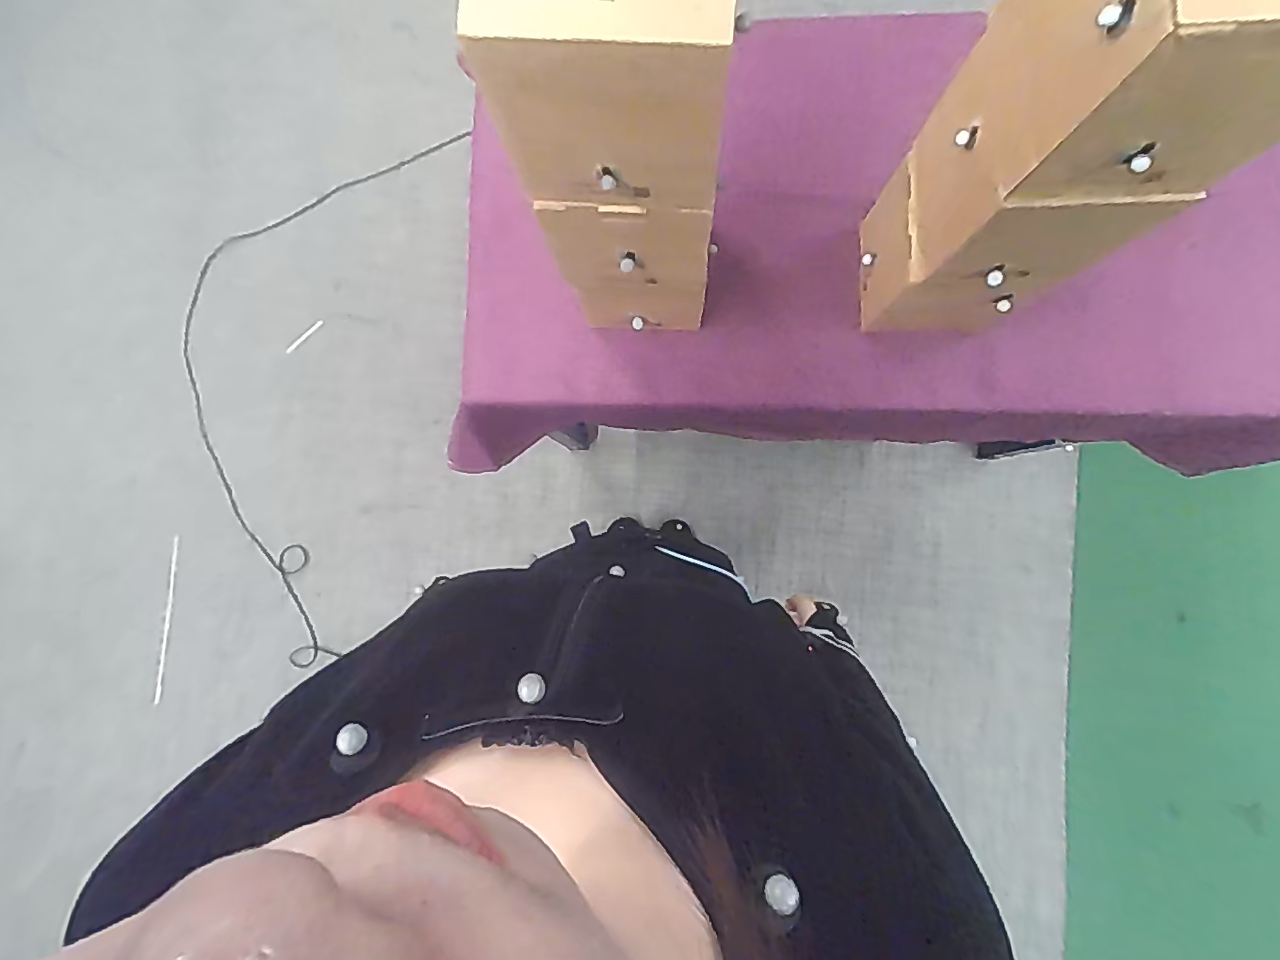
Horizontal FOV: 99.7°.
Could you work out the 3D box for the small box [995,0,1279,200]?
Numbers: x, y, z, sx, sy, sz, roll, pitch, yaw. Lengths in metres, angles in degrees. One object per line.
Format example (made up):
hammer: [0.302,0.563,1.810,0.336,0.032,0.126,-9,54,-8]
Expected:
small box: [0.384,-0.333,0.385,0.168,0.176,0.179,-2,87,4]

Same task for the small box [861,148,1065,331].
small box: [0.409,-0.303,0.709,0.179,0.176,0.168,1,86,4]

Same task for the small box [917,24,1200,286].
small box: [0.398,-0.316,0.546,0.168,0.176,0.179,1,87,4]

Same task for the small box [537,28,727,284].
small box: [-0.003,-0.323,0.571,0.168,0.176,0.179,4,87,3]

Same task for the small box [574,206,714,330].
small box: [0.011,-0.321,0.735,0.168,0.176,0.179,3,87,4]
